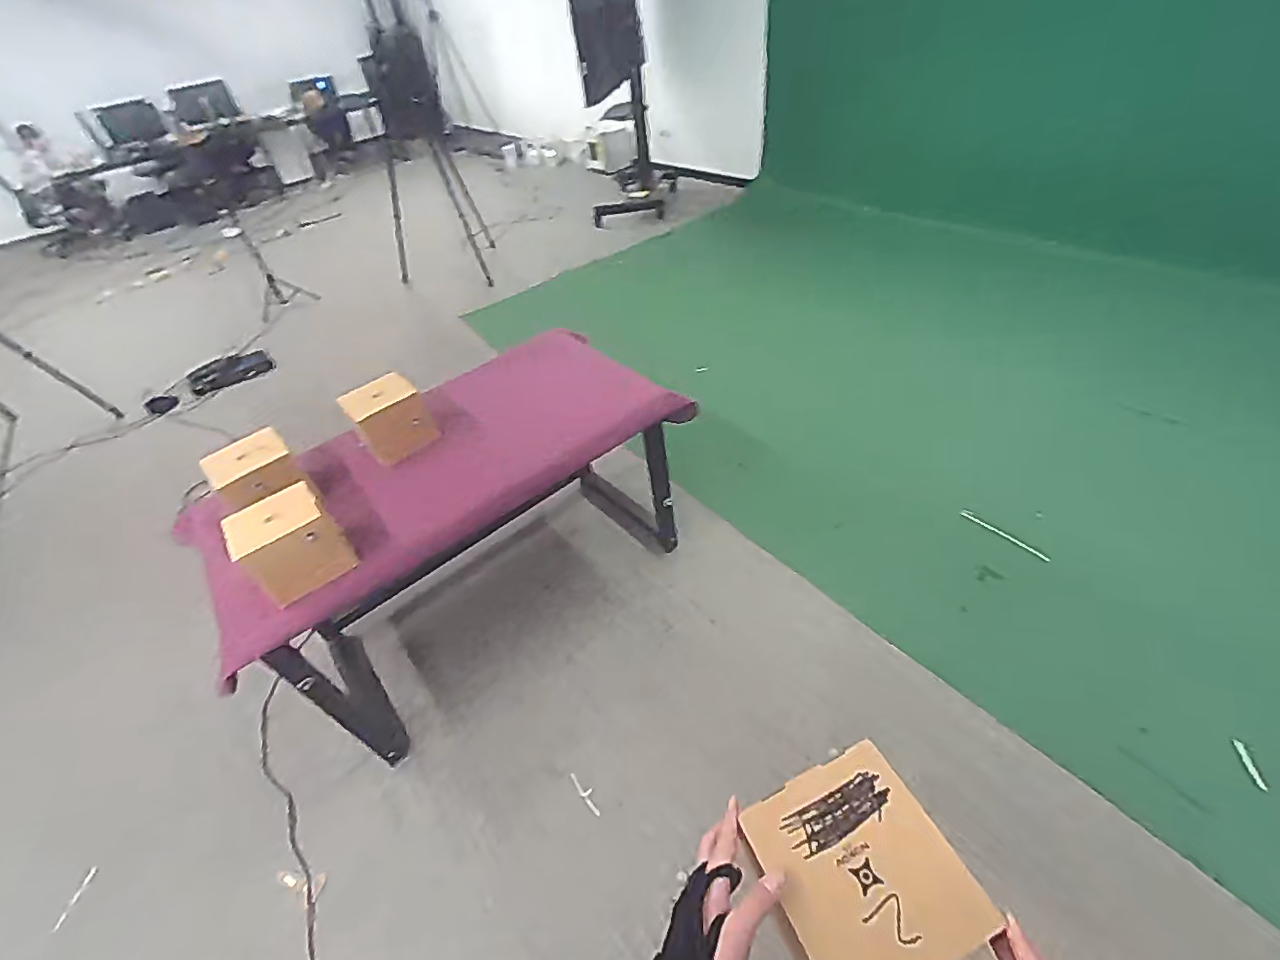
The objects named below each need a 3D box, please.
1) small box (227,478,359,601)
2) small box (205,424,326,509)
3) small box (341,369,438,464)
[{"bbox_3d":[-0.764,0.134,1.198,0.179,0.176,0.168,-33,46,-23],"label":"small box"},{"bbox_3d":[-0.947,-0.005,1.376,0.179,0.176,0.168,-36,50,-25],"label":"small box"},{"bbox_3d":[-0.689,-0.177,1.511,0.179,0.176,0.168,-35,49,-23],"label":"small box"}]
